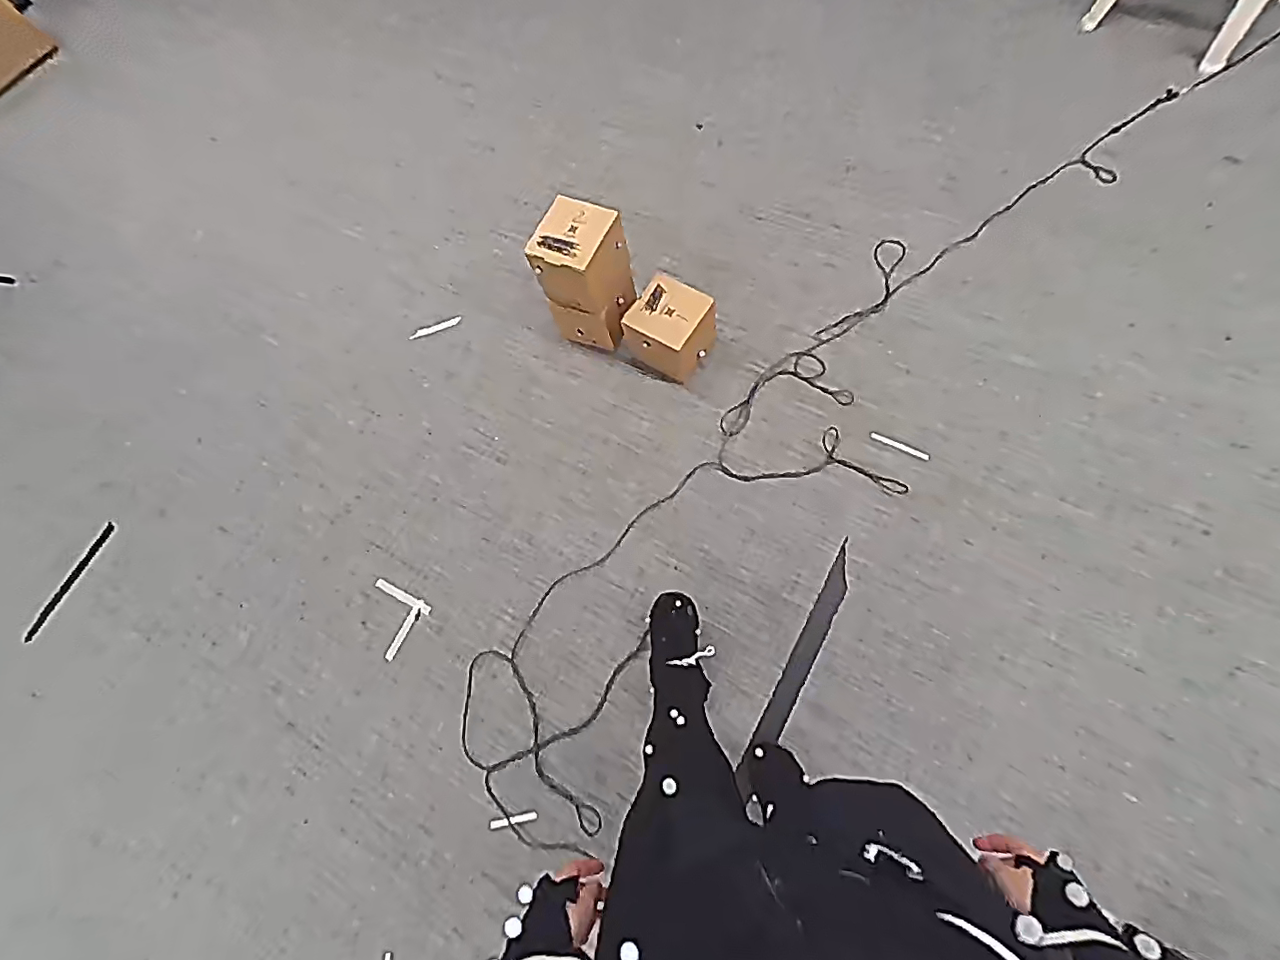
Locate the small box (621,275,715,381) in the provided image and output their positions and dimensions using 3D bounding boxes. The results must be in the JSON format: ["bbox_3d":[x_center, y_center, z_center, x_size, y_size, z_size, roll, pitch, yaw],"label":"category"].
[{"bbox_3d":[0.077,-0.385,1.394,0.179,0.176,0.168,31,79,17],"label":"small box"}]

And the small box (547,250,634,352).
[{"bbox_3d":[-0.125,-0.480,1.463,0.168,0.176,0.179,19,76,15],"label":"small box"}]
